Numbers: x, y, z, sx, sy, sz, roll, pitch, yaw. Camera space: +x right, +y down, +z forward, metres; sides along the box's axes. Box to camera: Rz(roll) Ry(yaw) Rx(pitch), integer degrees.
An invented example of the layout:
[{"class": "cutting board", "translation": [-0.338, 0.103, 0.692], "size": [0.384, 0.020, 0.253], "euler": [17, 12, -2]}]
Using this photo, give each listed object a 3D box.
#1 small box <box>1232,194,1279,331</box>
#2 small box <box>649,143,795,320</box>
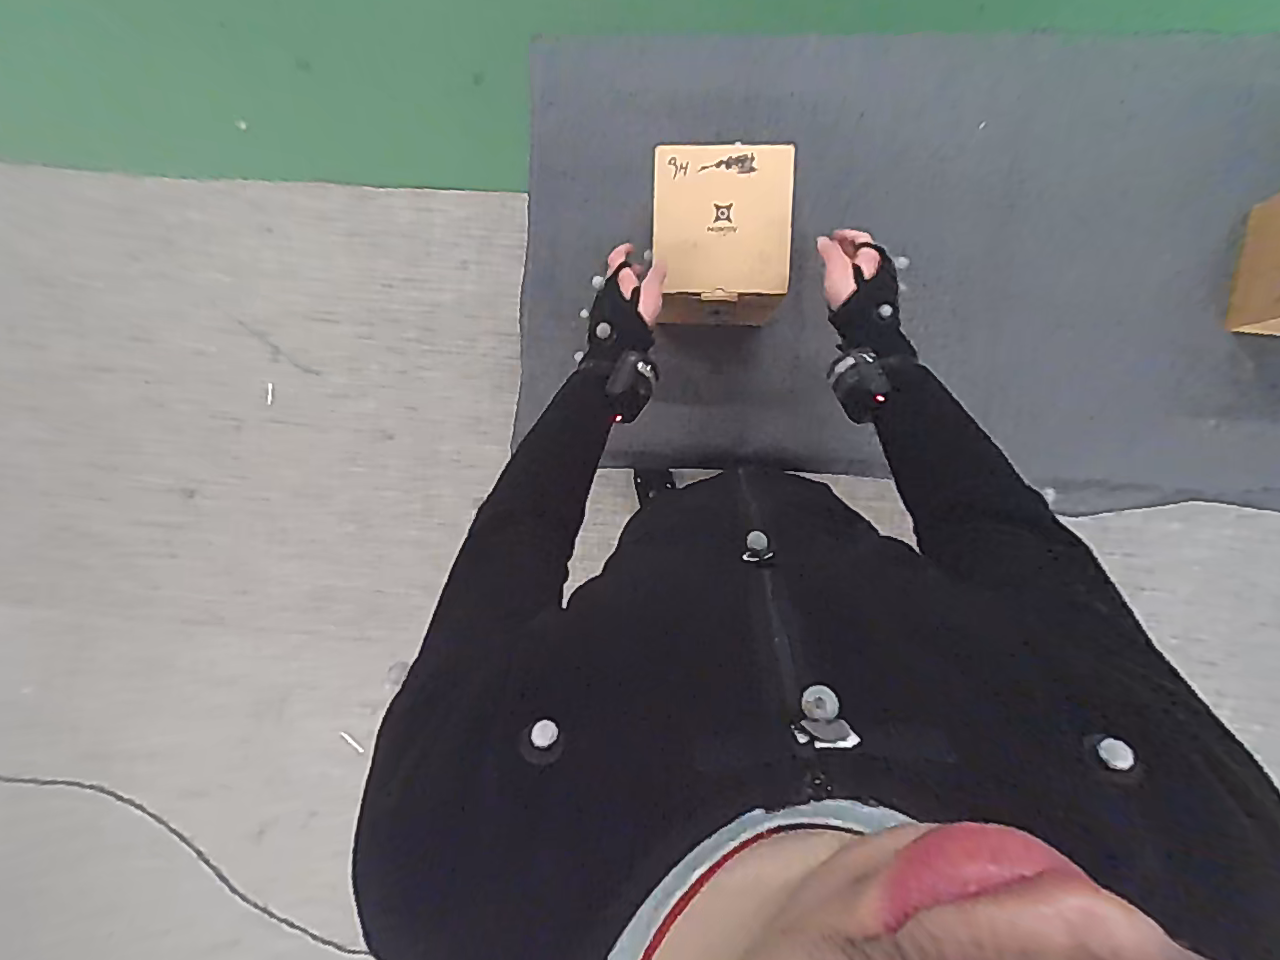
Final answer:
[{"class": "small box", "translation": [0.906, -0.280, 0.666], "size": [0.168, 0.176, 0.179], "euler": [6, 94, 2]}, {"class": "small box", "translation": [0.101, -0.316, 0.720], "size": [0.168, 0.176, 0.179], "euler": [2, 95, 3]}]
